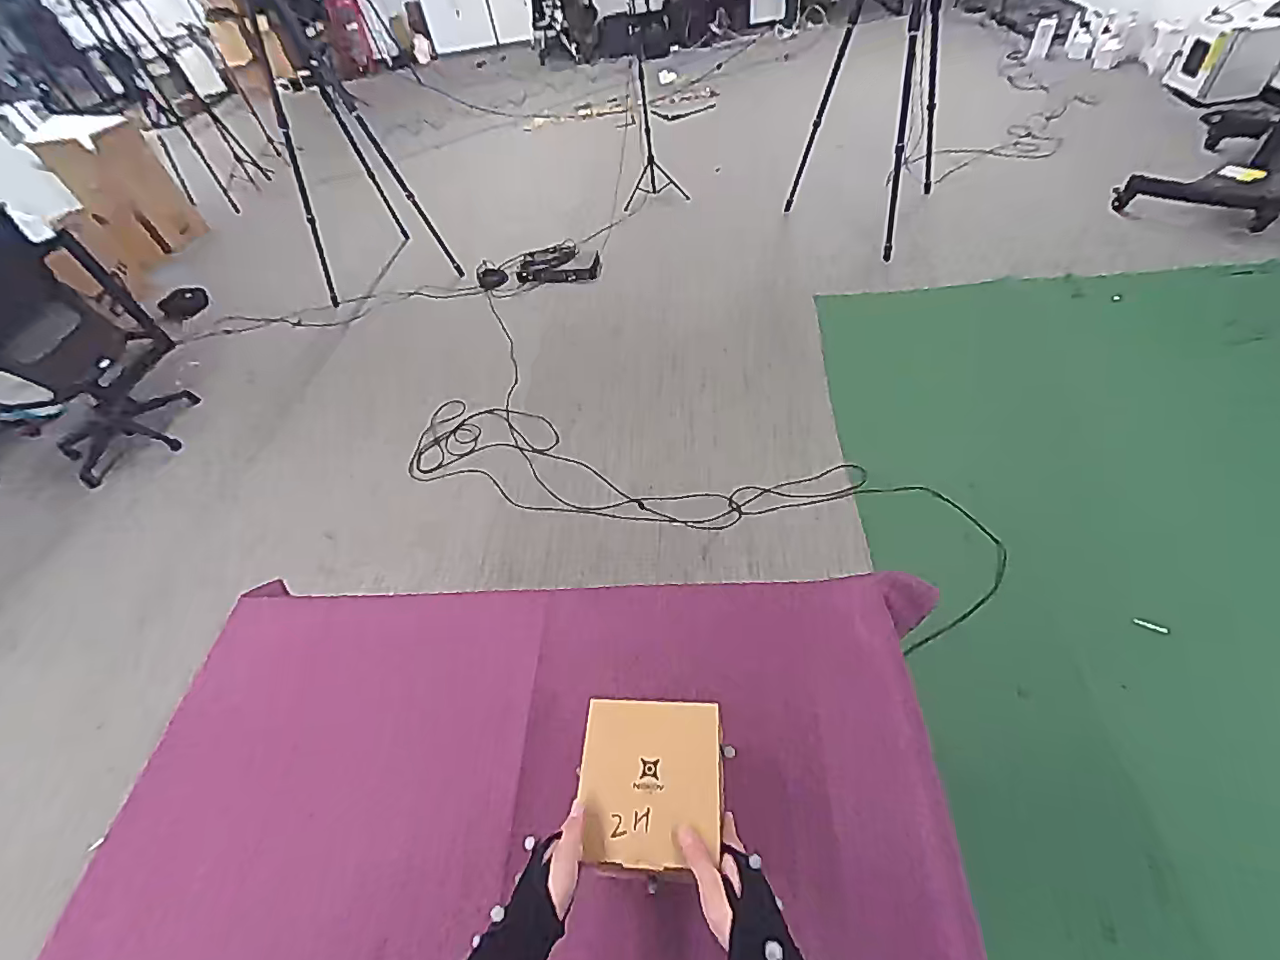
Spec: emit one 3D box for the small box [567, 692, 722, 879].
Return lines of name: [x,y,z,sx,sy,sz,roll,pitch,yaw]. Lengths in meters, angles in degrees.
small box: [0.018,0.390,0.692,0.168,0.176,0.179,-2,50,10]
